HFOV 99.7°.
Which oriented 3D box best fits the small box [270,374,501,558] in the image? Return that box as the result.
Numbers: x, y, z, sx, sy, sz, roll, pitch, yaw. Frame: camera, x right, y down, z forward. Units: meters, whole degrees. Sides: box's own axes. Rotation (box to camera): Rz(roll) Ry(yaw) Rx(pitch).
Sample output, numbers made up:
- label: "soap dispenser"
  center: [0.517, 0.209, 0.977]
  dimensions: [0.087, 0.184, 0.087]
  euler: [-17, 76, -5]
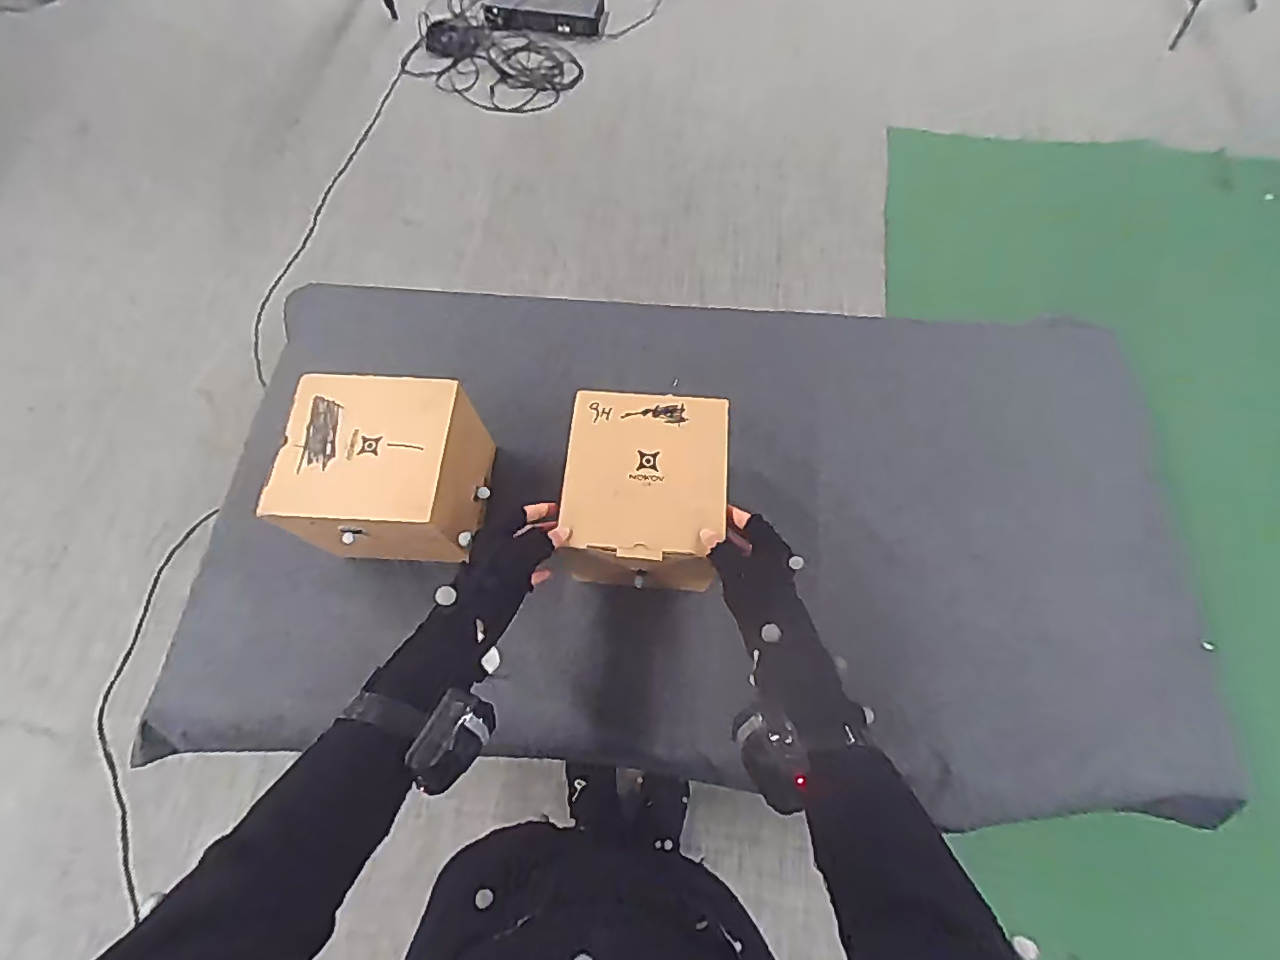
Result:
- label: "small box"
  center: [-0.280, -0.008, 0.642]
  dimensions: [0.179, 0.176, 0.168]
  euler: [3, 69, 1]

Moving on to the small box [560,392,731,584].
- label: "small box"
  center: [0.011, 0.019, 0.628]
  dimensions: [0.168, 0.176, 0.179]
  euler: [4, 69, 3]
